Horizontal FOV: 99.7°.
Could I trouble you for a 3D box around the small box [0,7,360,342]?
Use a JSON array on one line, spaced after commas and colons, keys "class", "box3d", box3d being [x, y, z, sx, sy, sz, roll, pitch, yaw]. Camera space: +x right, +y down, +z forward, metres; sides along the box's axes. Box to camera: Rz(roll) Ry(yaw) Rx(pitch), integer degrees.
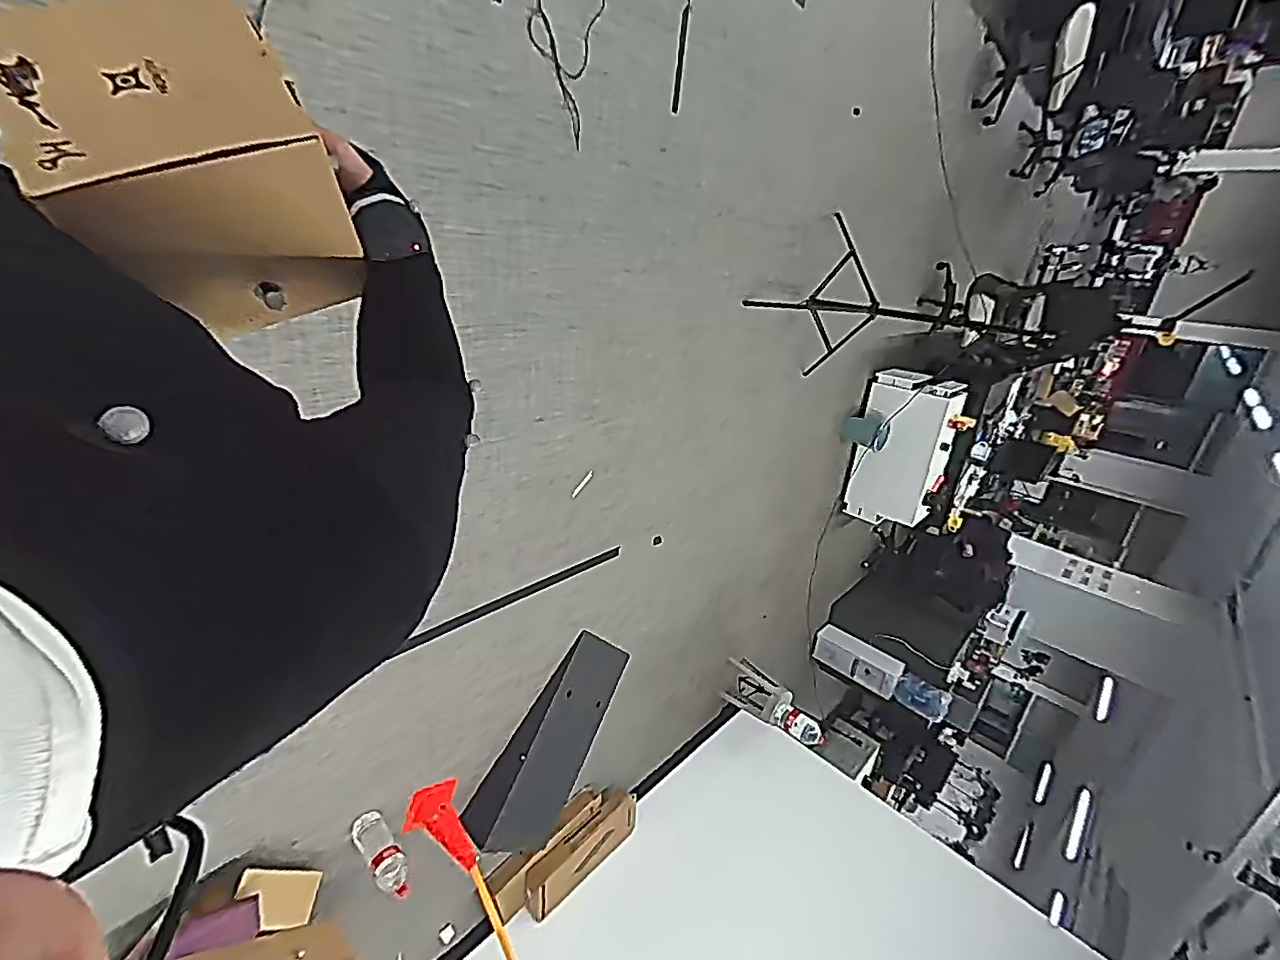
[{"class": "small box", "box3d": [-0.368, -0.252, 0.467, 0.179, 0.168, 0.176, -28, 167, -21]}]
